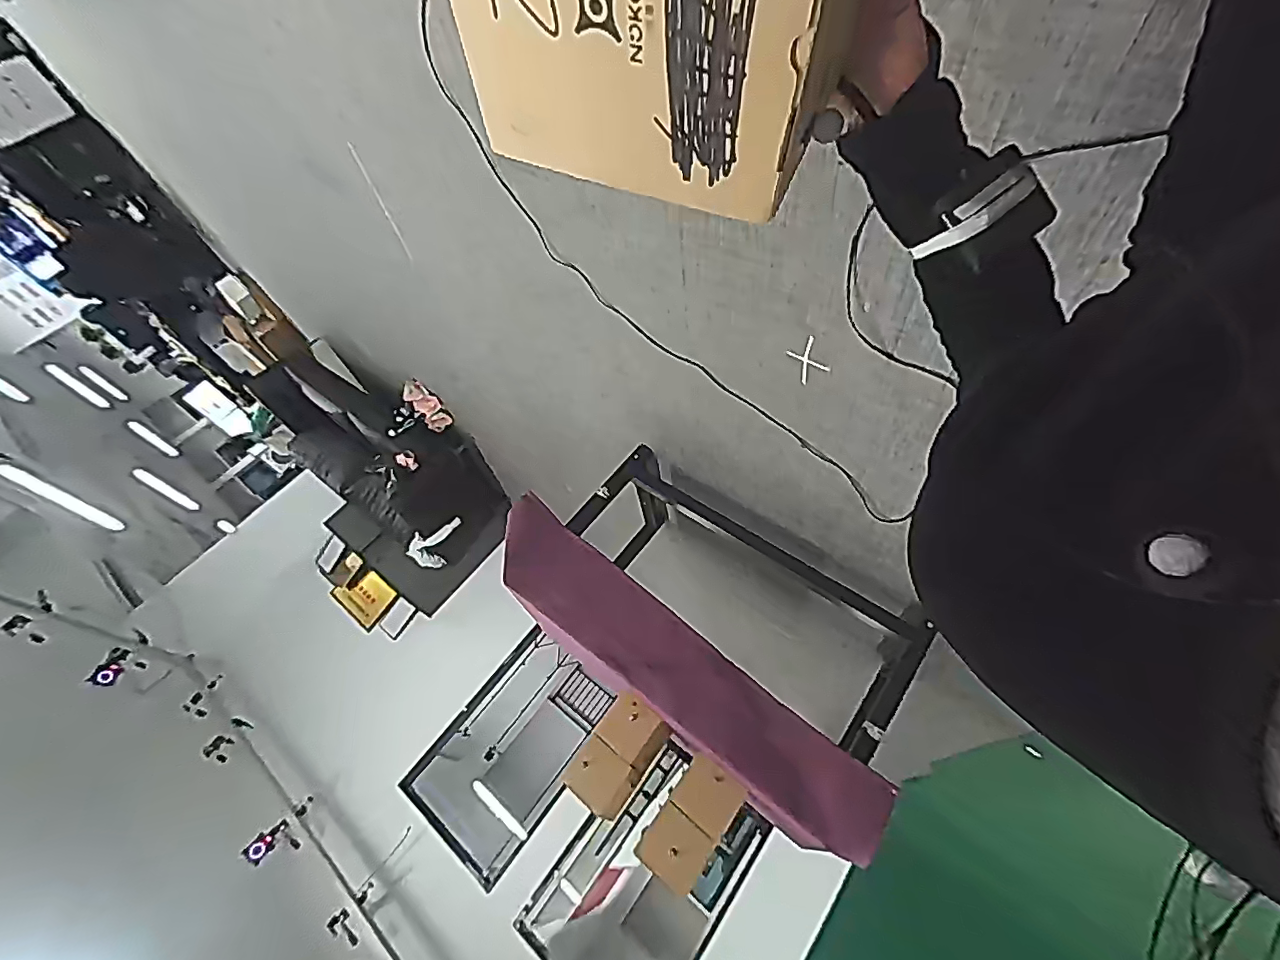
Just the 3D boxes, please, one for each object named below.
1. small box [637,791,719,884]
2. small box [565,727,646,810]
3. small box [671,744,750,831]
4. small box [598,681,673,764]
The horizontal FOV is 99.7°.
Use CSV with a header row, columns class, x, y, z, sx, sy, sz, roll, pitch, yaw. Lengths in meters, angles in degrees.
class,x,y,z,sx,sy,sz,roll,pitch,yaw
small box,0.118,1.059,1.615,0.179,0.176,0.168,29,156,27
small box,-0.108,0.924,1.748,0.179,0.176,0.168,28,156,30
small box,0.221,0.944,1.673,0.179,0.176,0.168,30,157,28
small box,-0.008,0.810,1.810,0.168,0.176,0.179,27,154,32
